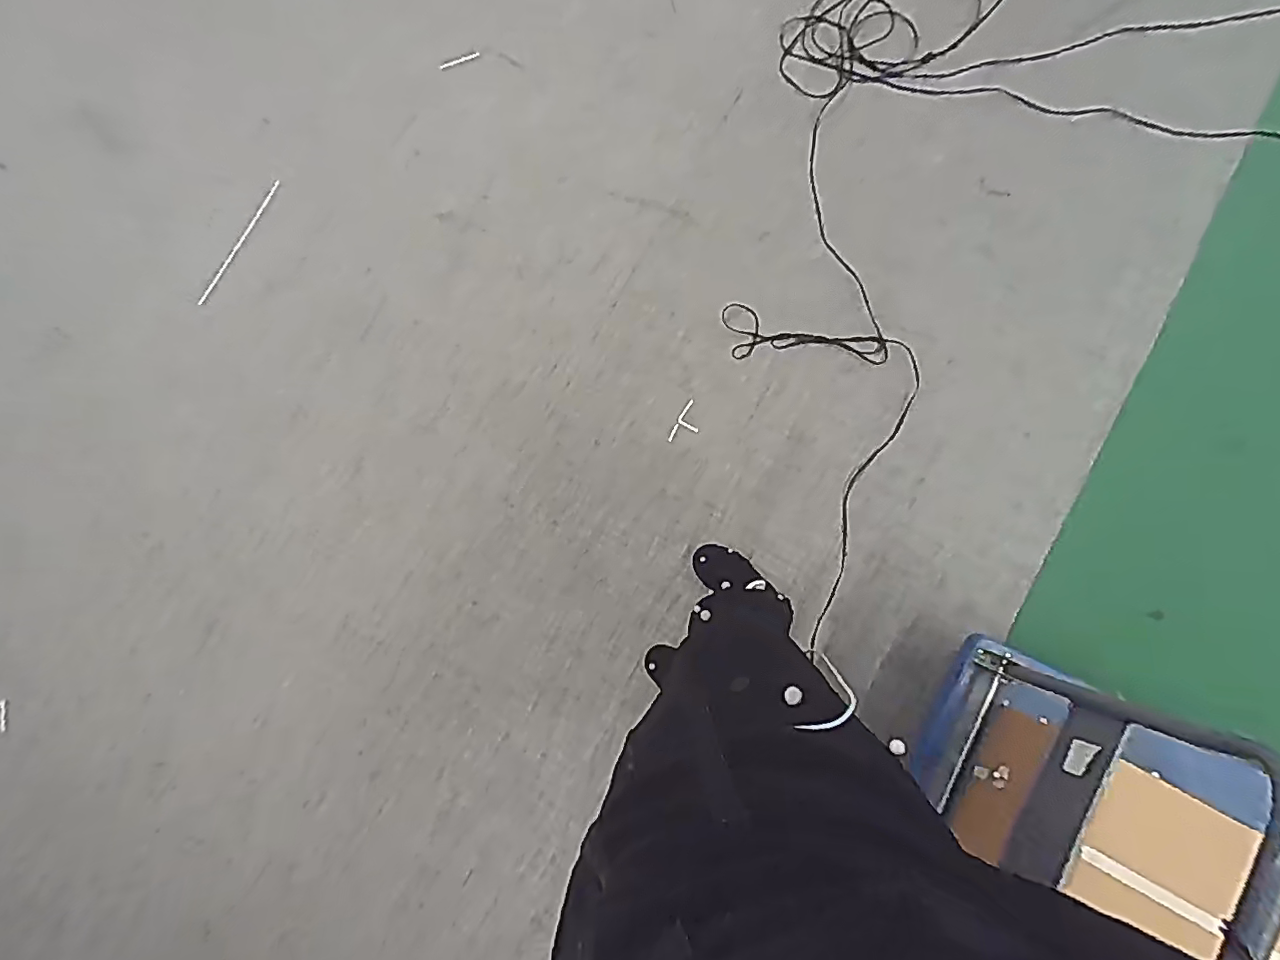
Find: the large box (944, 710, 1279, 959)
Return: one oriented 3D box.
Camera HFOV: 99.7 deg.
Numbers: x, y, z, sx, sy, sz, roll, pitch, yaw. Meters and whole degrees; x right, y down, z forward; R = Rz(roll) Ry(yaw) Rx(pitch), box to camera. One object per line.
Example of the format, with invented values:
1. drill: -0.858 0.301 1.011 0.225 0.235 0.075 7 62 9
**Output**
1. large box: 0.870 0.691 0.992 0.408 0.320 0.320 28 85 8
